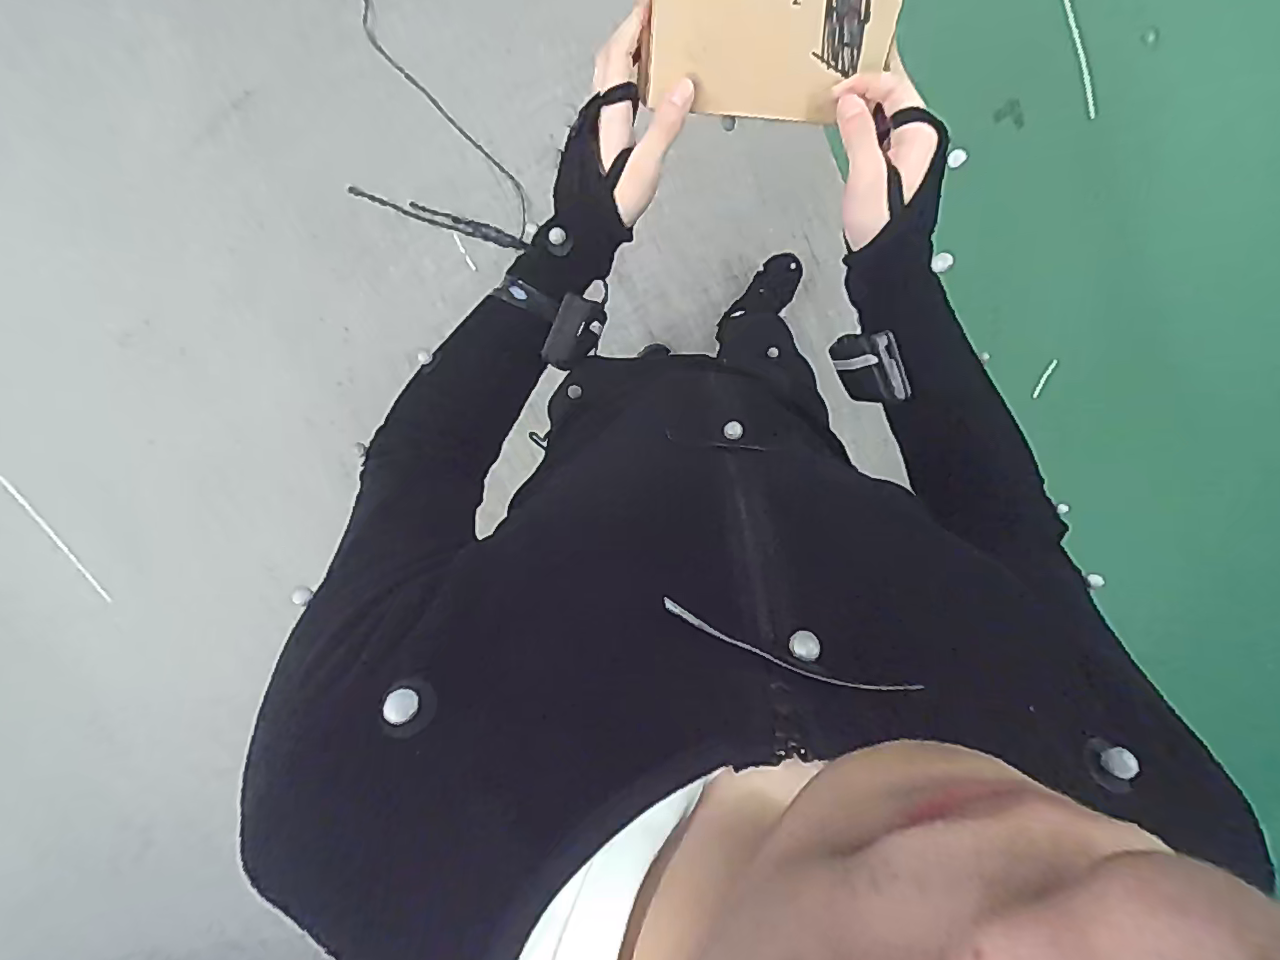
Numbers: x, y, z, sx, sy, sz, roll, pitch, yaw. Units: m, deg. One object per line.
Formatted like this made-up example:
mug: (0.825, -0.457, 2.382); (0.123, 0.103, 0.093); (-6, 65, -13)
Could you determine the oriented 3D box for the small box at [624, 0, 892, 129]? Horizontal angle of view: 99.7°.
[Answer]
small box: (0.083, -0.388, 0.423); (0.179, 0.176, 0.168); (0, 128, -5)
